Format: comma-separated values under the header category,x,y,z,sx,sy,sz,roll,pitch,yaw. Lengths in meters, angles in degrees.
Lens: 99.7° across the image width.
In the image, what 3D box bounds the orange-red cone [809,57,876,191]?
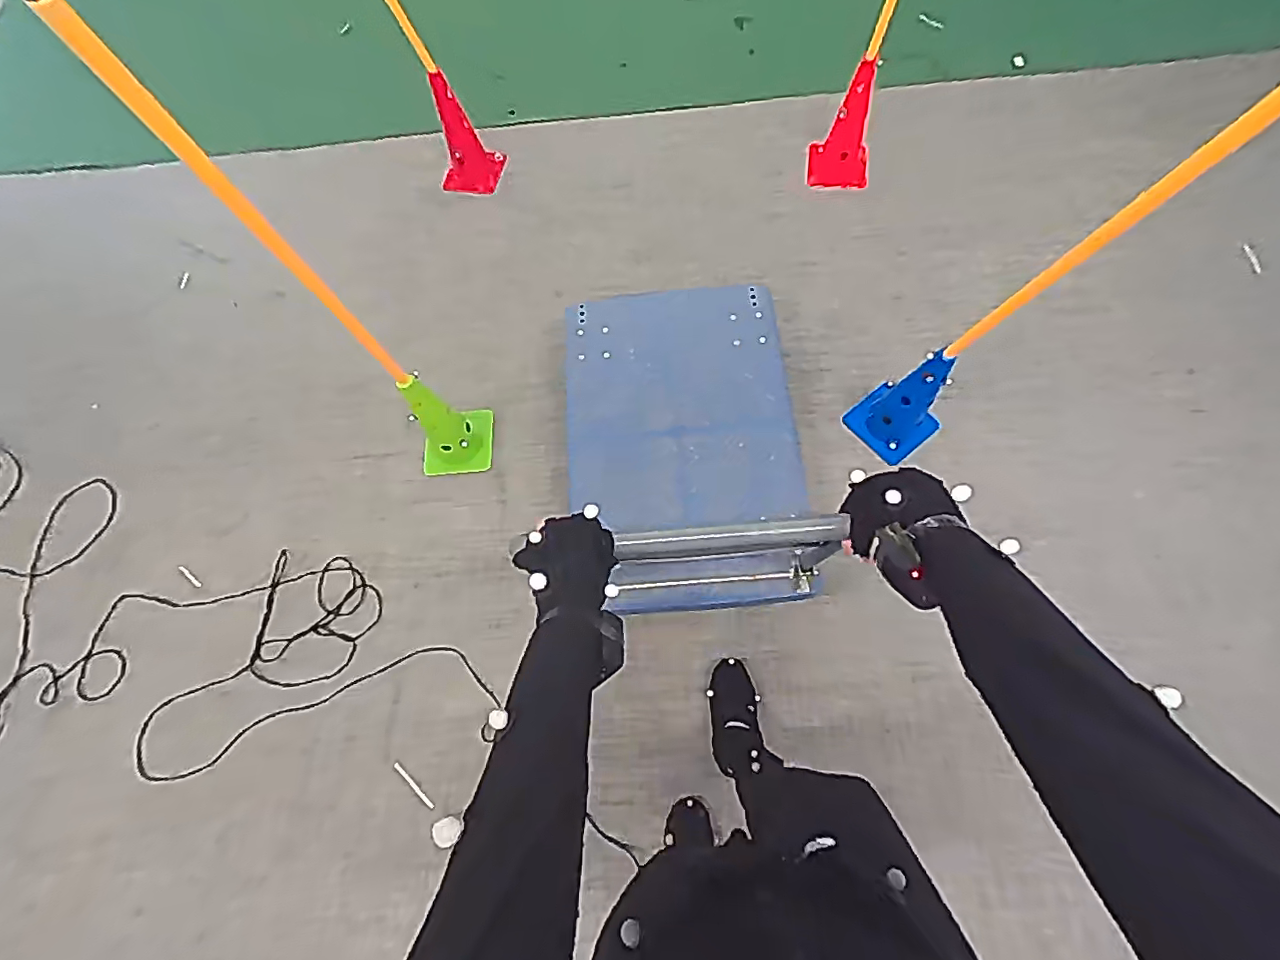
category,x,y,z,sx,sy,sz,roll,pitch,yaw
orange-red cone,0.672,-1.130,1.700,0.198,0.360,0.199,7,71,8
